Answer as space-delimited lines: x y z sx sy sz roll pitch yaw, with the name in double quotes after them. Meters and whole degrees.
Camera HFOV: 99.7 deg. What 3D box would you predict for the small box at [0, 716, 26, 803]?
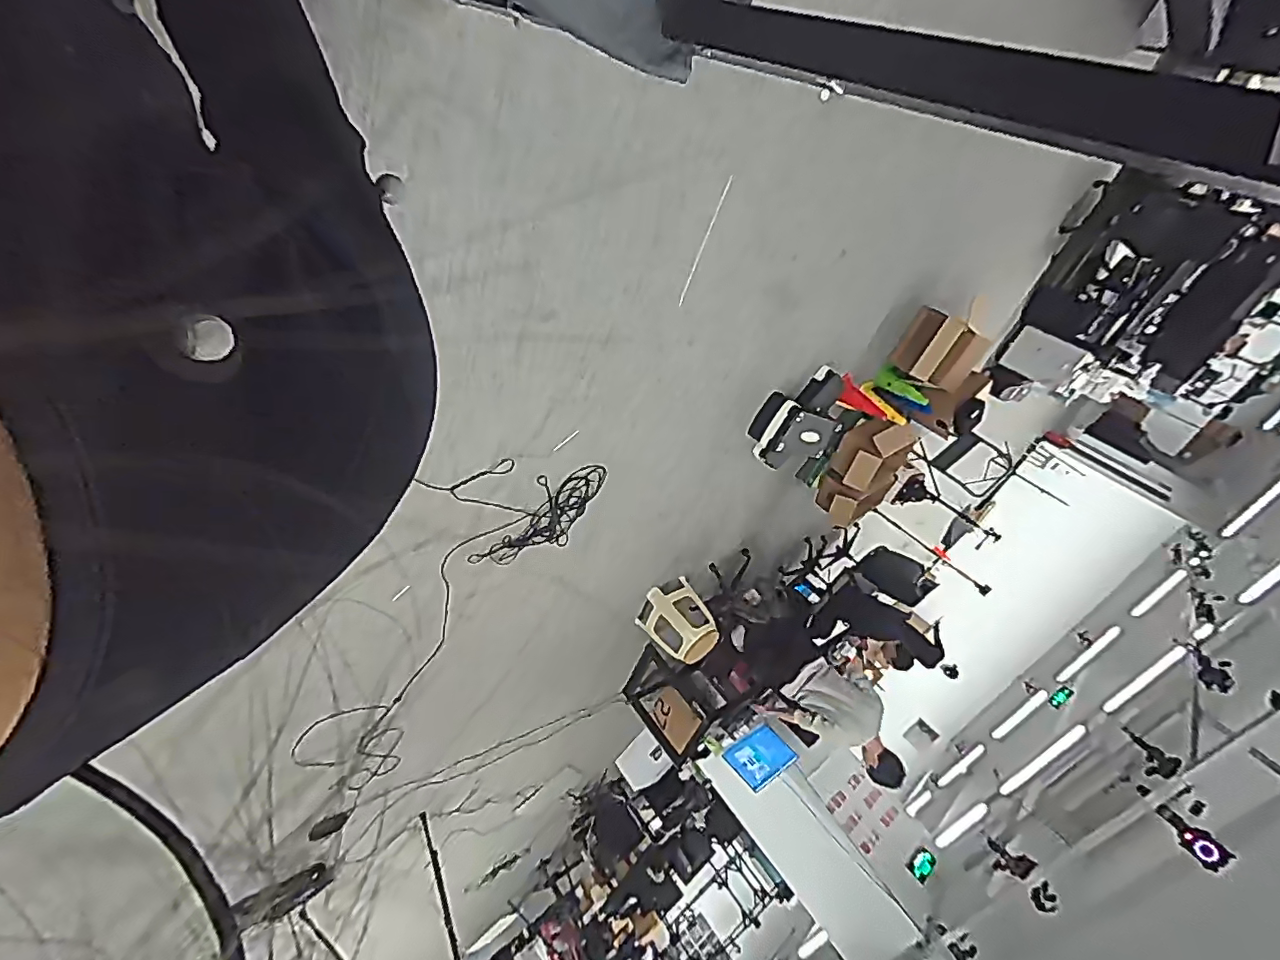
-1.730 0.739 1.390 0.168 0.176 0.179 -14 135 -39 "small box"
